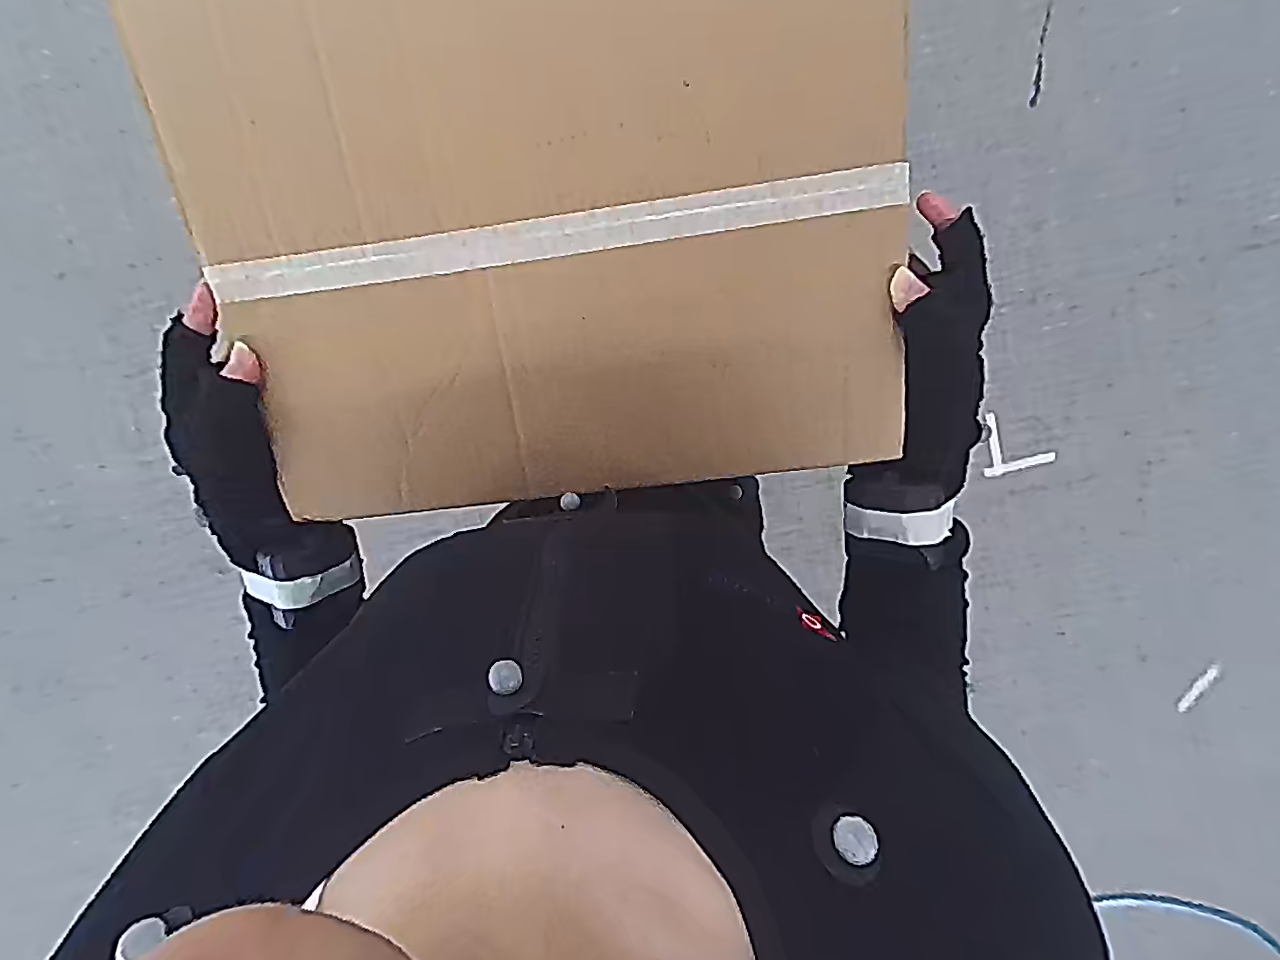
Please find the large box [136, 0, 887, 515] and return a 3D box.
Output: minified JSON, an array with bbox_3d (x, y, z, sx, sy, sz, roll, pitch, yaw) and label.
[{"bbox_3d":[-0.050,-0.189,0.461,0.408,0.320,0.320,-6,107,4],"label":"large box"}]
